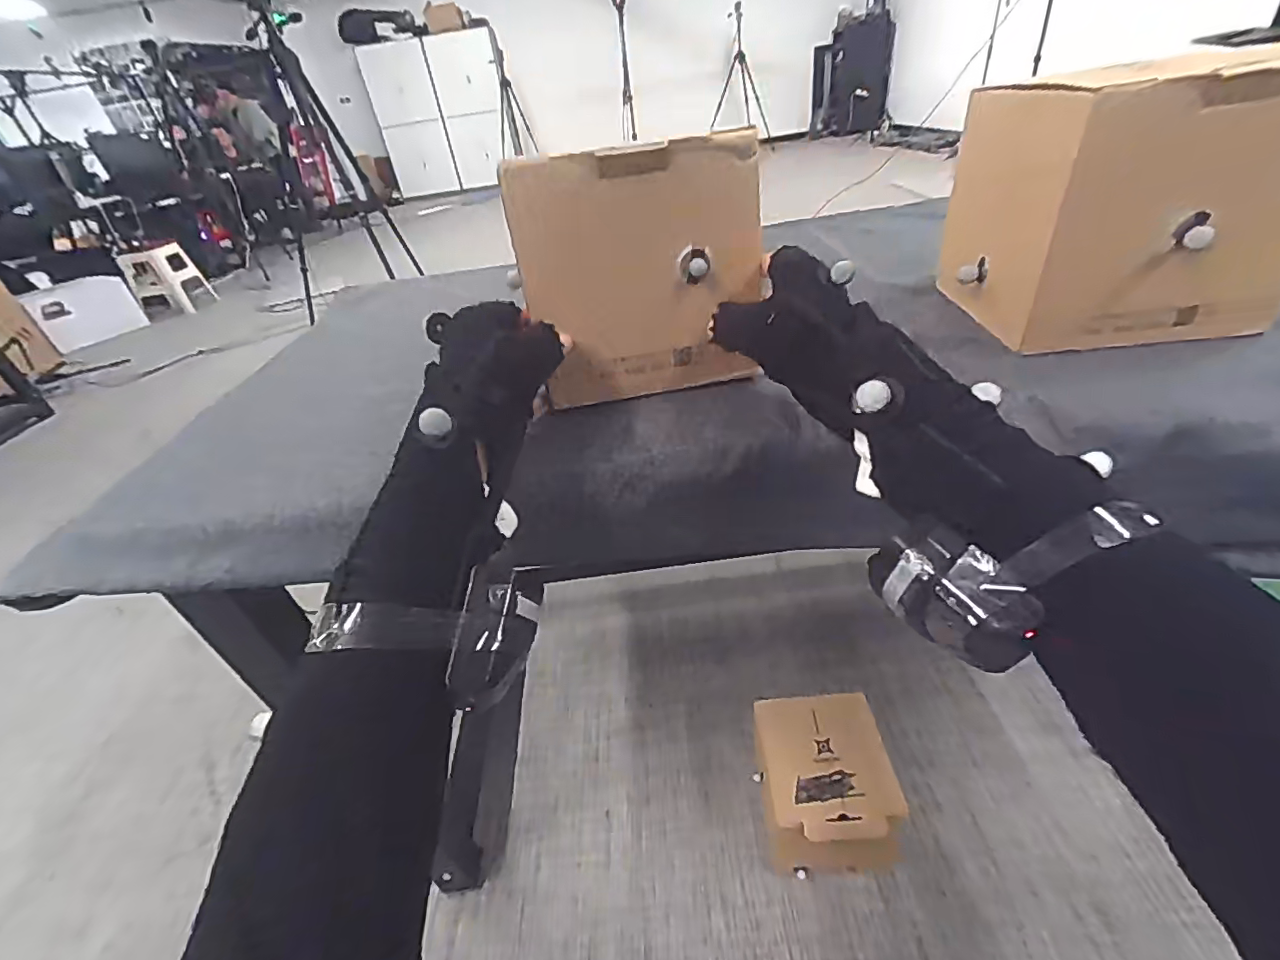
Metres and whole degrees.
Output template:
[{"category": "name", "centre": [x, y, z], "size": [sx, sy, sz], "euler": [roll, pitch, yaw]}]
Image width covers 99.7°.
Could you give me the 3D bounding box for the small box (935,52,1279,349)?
[{"category": "small box", "centre": [0.355, -0.208, 0.418], "size": [0.168, 0.176, 0.179], "euler": [-4, 36, 8]}]

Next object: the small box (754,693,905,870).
[{"category": "small box", "centre": [0.264, 0.443, 0.790], "size": [0.168, 0.176, 0.179], "euler": [-6, 34, 5]}]

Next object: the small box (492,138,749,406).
[{"category": "small box", "centre": [-0.011, -0.170, 0.447], "size": [0.168, 0.176, 0.179], "euler": [-10, 32, -2]}]
